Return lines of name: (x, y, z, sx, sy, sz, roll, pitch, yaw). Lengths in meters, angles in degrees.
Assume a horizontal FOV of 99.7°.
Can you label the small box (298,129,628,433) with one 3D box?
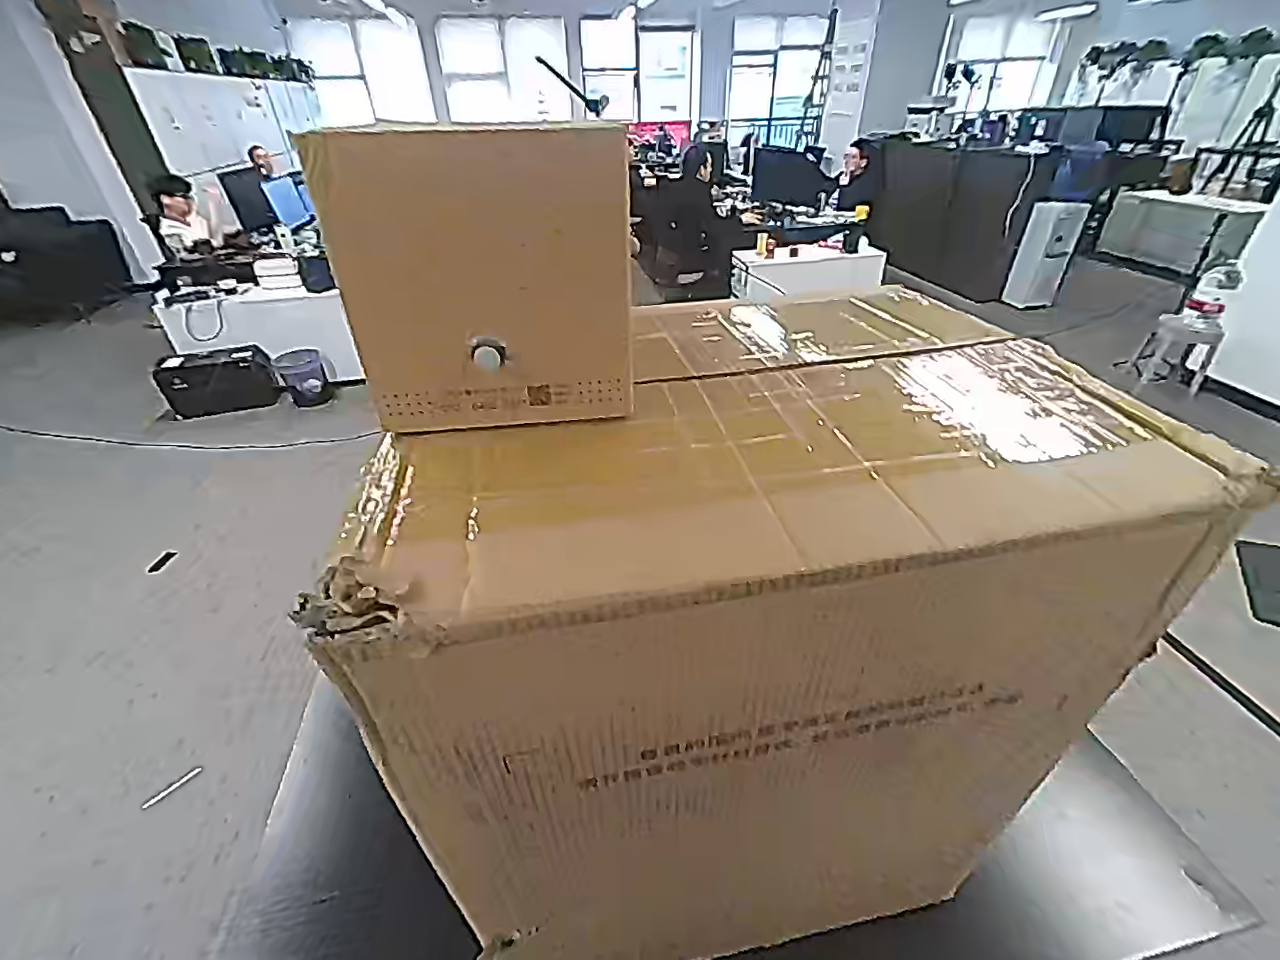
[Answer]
small box: (-0.100, -0.149, 0.388, 0.168, 0.176, 0.179, -6, 35, -6)
